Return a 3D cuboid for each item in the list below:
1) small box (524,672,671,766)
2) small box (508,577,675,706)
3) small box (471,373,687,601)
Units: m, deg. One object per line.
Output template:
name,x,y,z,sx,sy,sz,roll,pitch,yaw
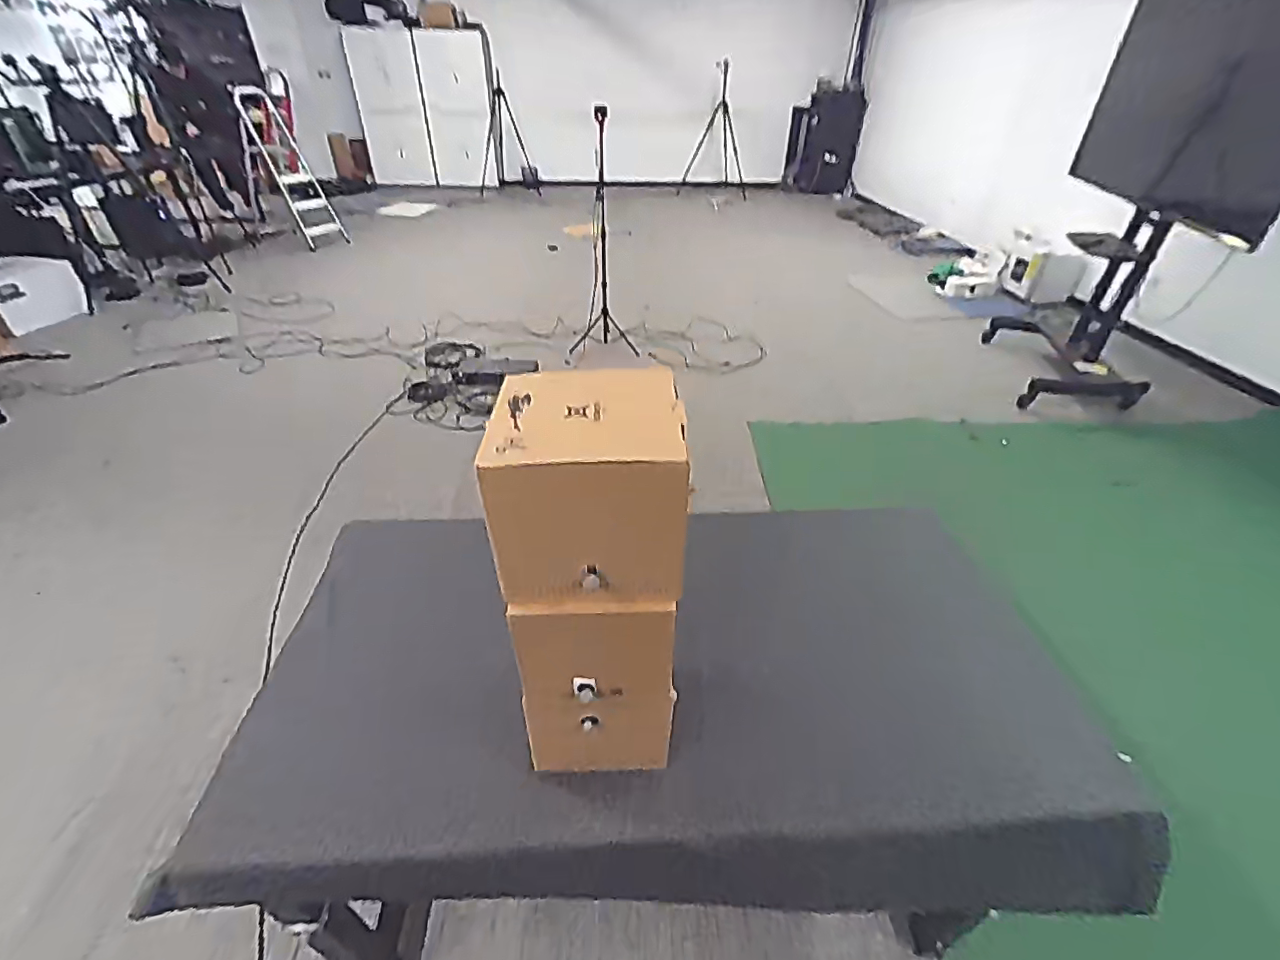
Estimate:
small box,-0.050,0.269,0.736,0.179,0.176,0.168,1,37,-1
small box,-0.049,0.140,0.638,0.168,0.176,0.179,-2,38,-1
small box,-0.050,0.007,0.544,0.179,0.176,0.168,-1,37,0
